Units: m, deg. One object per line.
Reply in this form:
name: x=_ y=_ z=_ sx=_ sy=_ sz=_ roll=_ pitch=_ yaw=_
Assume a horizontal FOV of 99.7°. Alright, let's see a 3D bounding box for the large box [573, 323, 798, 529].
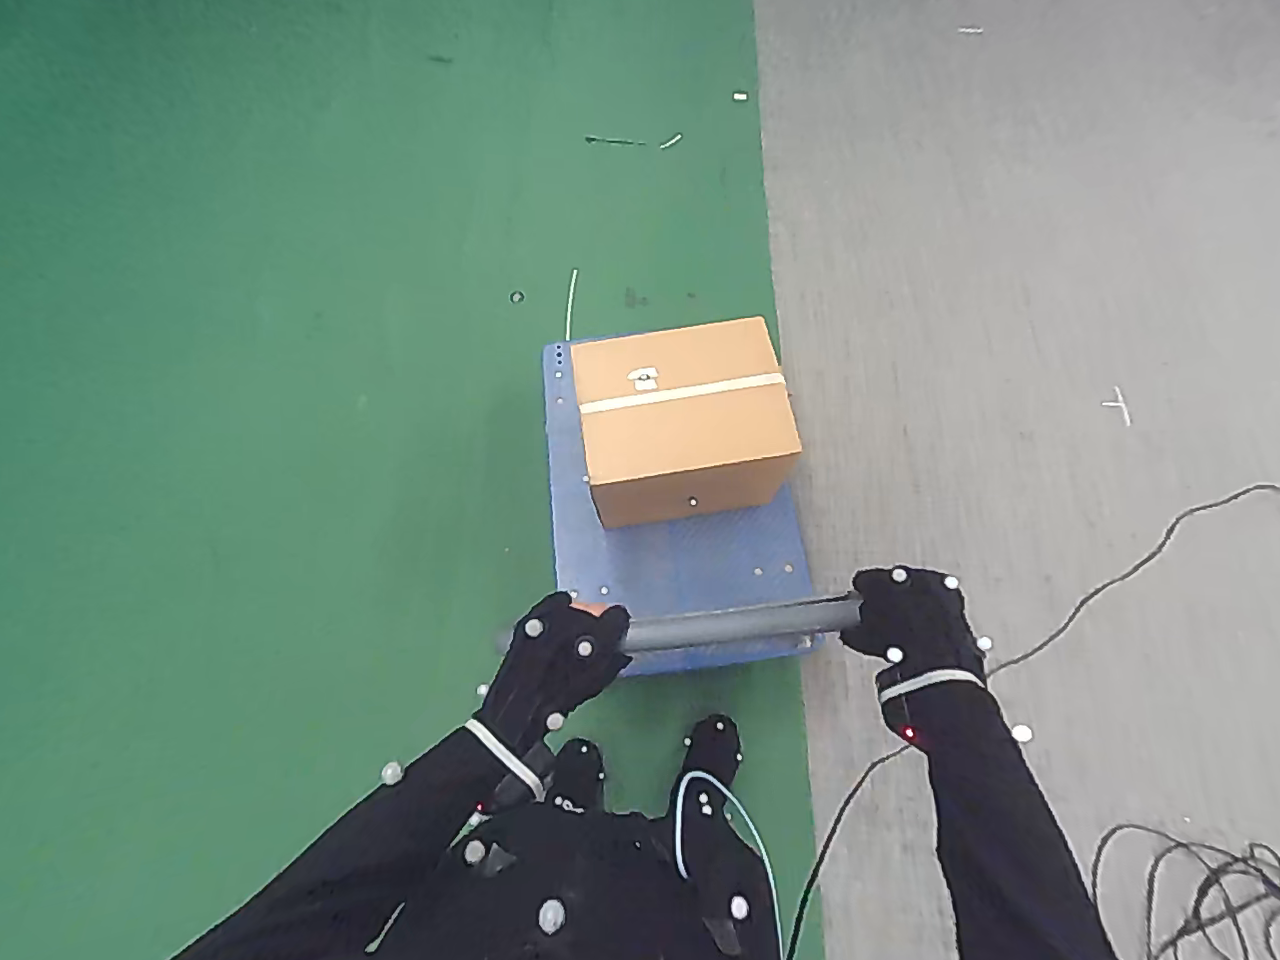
large box: x=0.088 y=-0.103 z=1.209 sx=0.408 sy=0.320 sz=0.320 roll=-10 pitch=69 yaw=-1
